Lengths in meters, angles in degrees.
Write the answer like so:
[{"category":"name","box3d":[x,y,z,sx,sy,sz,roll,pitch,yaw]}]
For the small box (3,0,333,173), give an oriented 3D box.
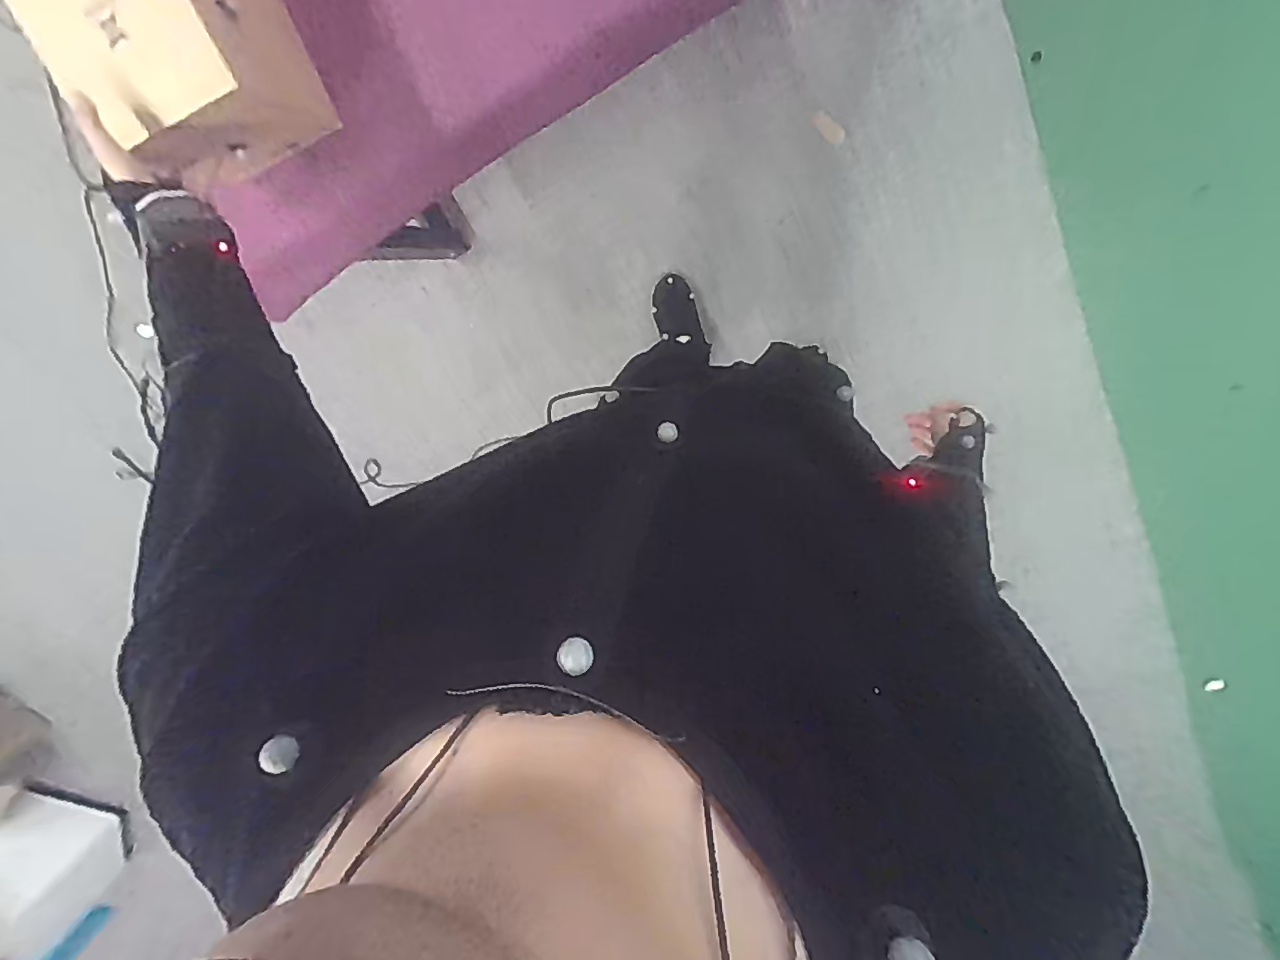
[{"category":"small box","box3d":[-0.461,-0.435,0.550,0.168,0.176,0.179,-18,110,11]}]
